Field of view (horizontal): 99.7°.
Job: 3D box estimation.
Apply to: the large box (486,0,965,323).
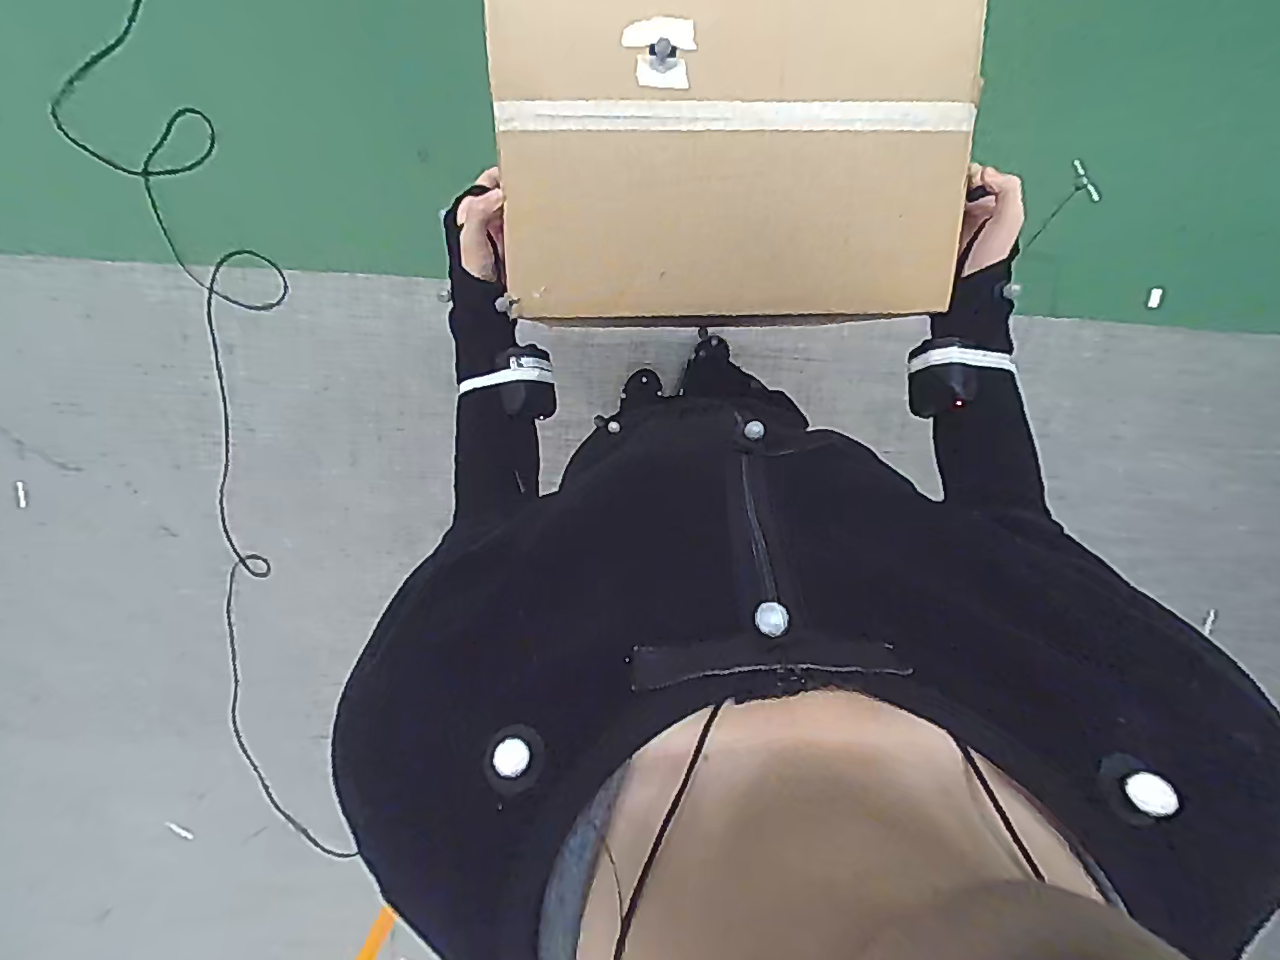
[{"bbox_3d":[0.071,-0.345,0.611,0.408,0.320,0.320,-2,104,-2],"label":"large box"}]
